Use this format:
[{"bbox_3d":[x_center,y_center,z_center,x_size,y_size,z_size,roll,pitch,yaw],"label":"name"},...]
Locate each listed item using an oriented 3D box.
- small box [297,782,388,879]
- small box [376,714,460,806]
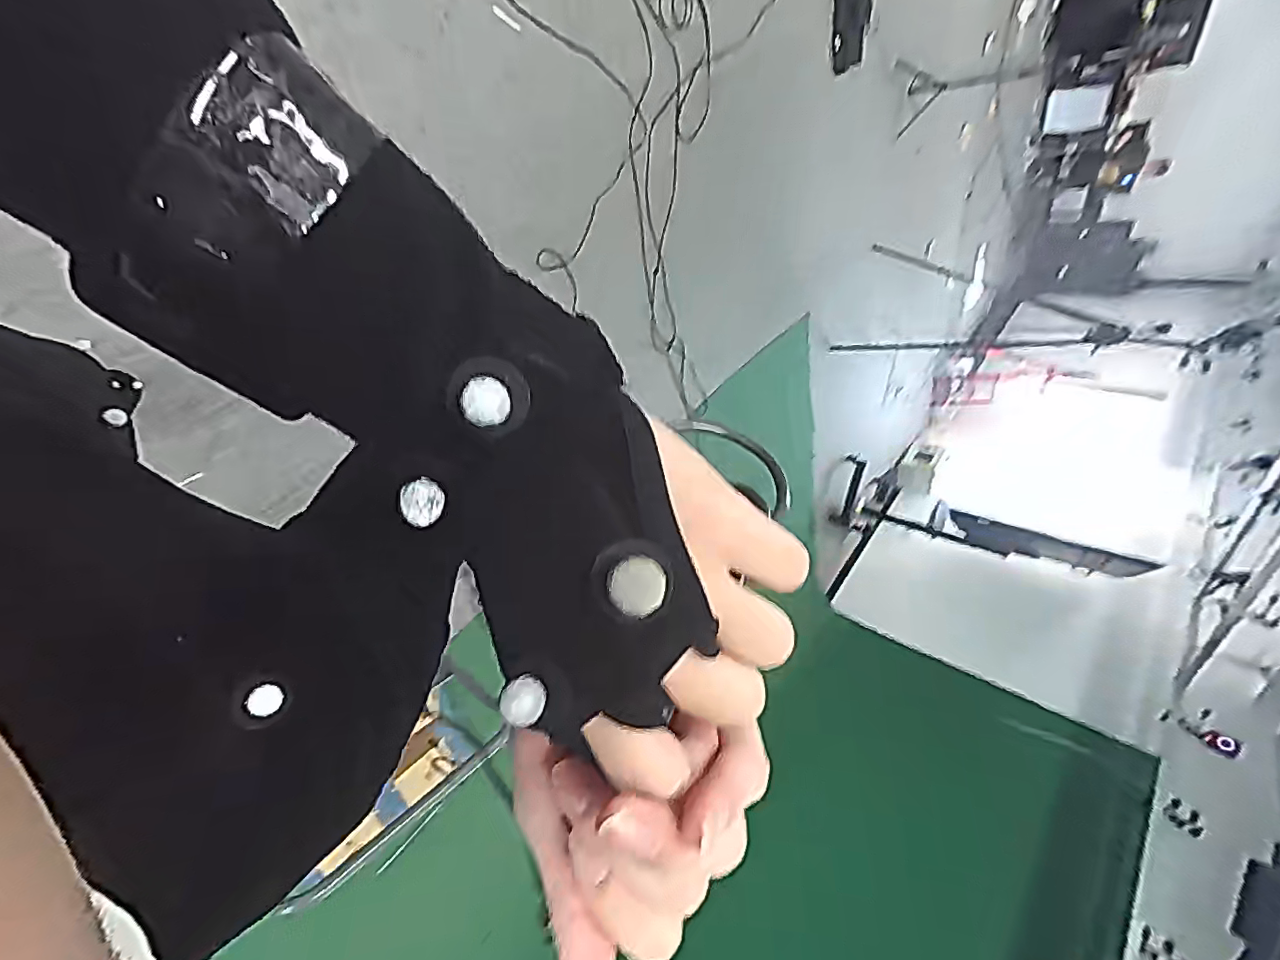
[{"bbox_3d":[-0.884,1.010,1.595,0.168,0.176,0.179,-36,130,-36],"label":"small box"},{"bbox_3d":[-0.718,0.890,1.740,0.168,0.176,0.179,-35,130,-35],"label":"small box"}]
